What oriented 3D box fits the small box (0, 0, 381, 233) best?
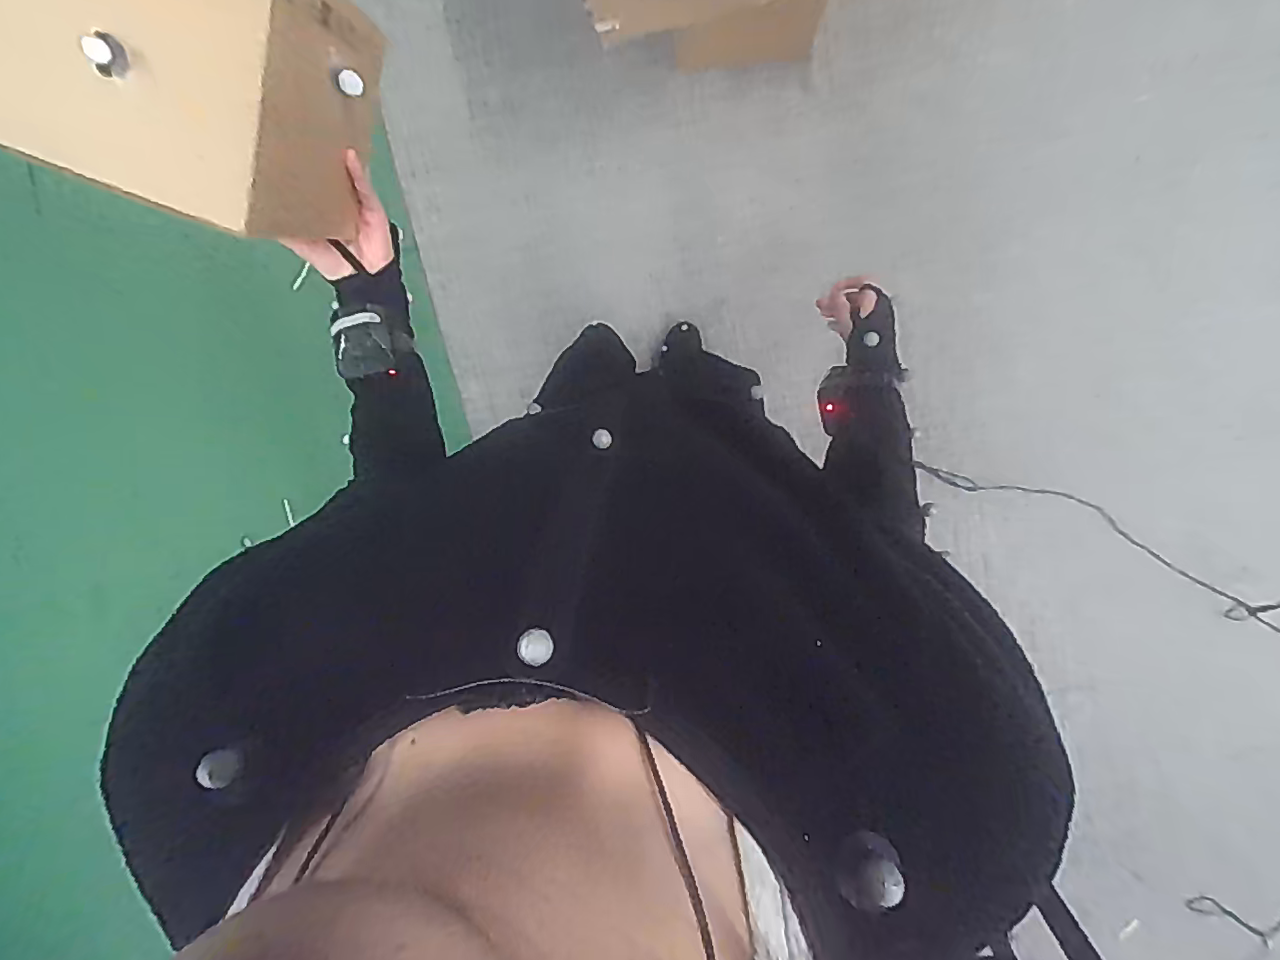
[{"bbox_3d":[-0.308,-0.293,0.371,0.179,0.168,0.176,18,110,-11],"label":"small box"}]
